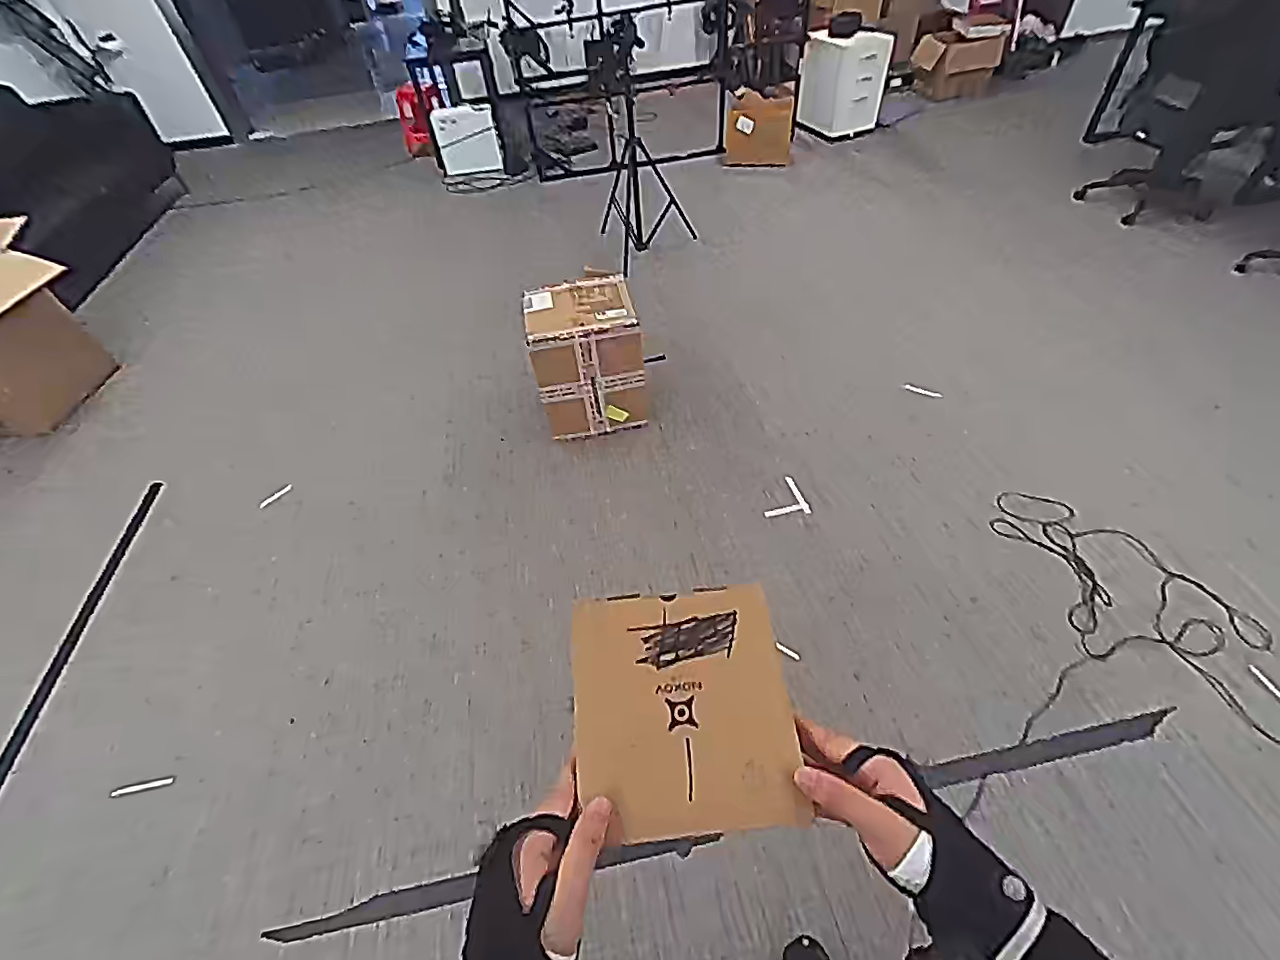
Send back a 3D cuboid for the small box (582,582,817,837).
[{"bbox_3d":[0.037,0.208,0.484,0.168,0.176,0.179,-5,59,-2],"label":"small box"}]
